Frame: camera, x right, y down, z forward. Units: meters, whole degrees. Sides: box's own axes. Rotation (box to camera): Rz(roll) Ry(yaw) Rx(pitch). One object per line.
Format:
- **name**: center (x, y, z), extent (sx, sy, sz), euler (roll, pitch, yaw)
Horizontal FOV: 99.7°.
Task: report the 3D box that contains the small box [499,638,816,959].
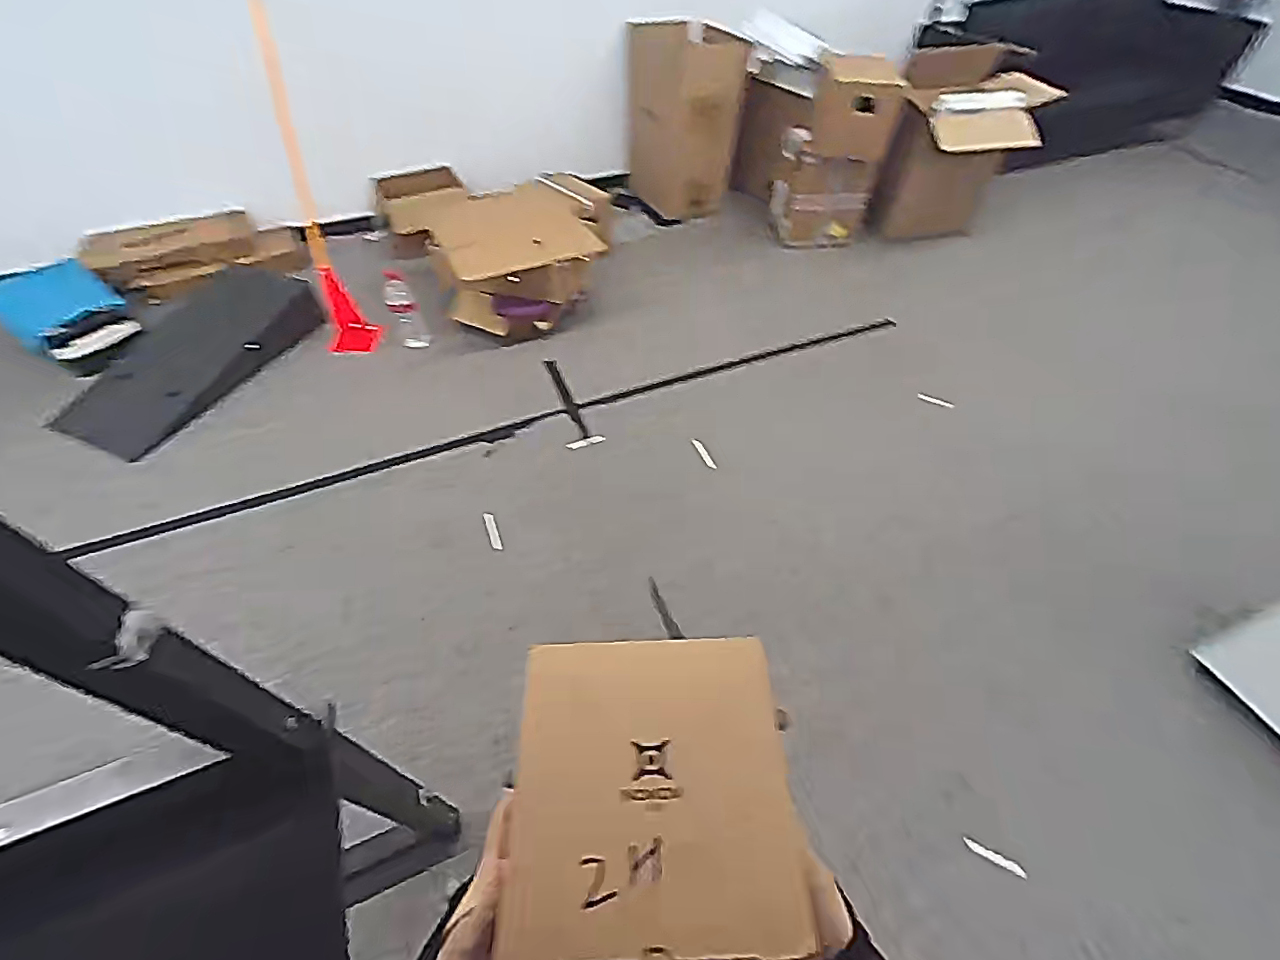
- **small box**: center (0.010, 0.232, 0.389), extent (0.168, 0.176, 0.179), euler (-3, 49, 1)
